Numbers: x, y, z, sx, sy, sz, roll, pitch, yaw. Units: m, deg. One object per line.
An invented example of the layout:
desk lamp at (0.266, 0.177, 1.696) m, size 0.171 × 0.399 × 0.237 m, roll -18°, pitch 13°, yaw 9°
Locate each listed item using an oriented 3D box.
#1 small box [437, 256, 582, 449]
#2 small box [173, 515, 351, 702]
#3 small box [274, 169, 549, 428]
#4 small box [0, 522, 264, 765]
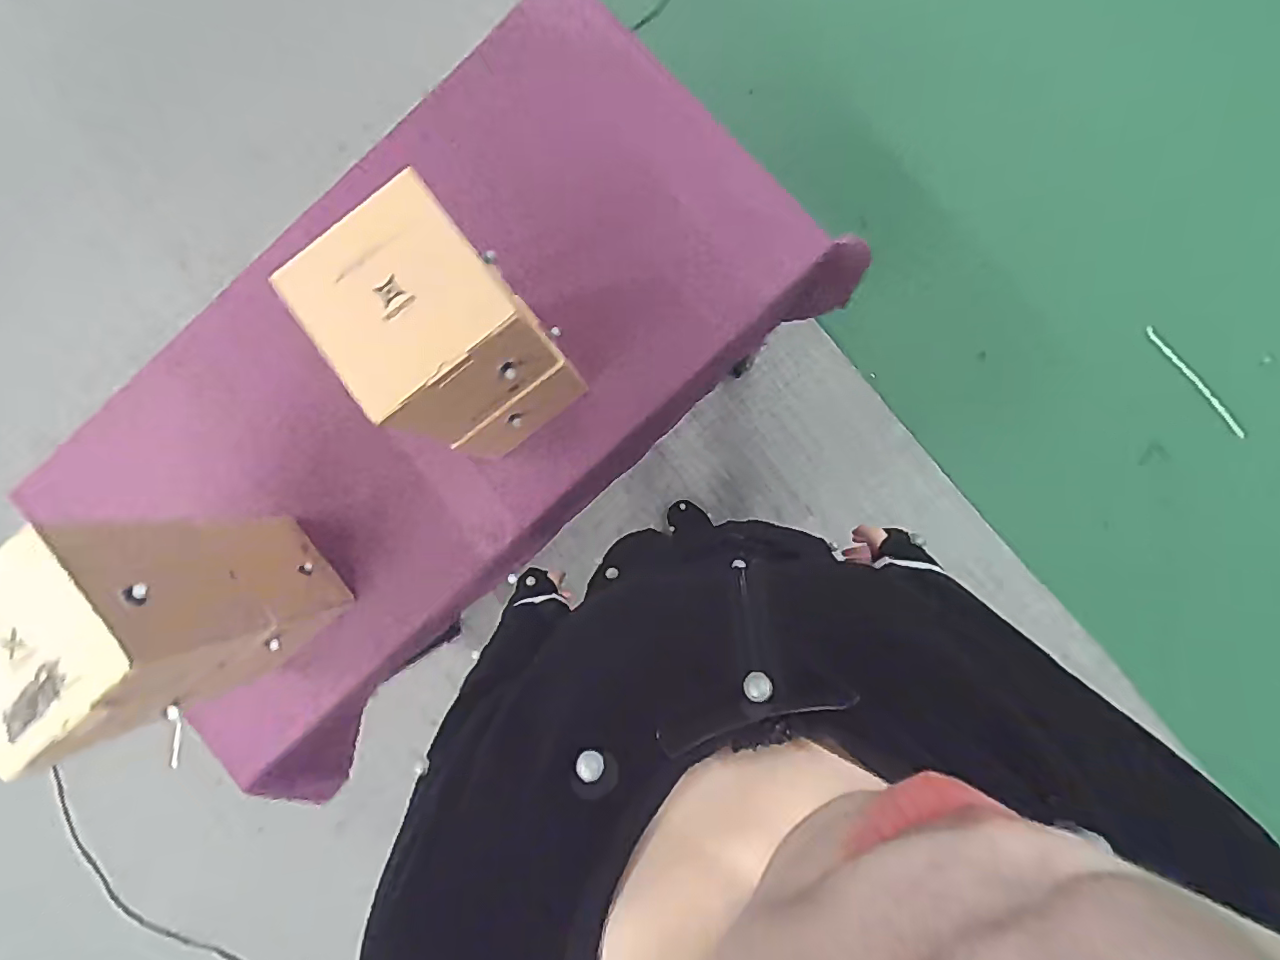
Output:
small box at (-0.201, -0.156, 0.734) m, size 0.179 × 0.176 × 0.168 m, roll -37°, pitch 86°, yaw 3°
small box at (-0.554, 0.165, 0.755) m, size 0.179 × 0.176 × 0.168 m, roll -41°, pitch 85°, yaw 2°
small box at (-0.221, -0.169, 0.573) m, size 0.168 × 0.176 × 0.179 m, roll -37°, pitch 85°, yaw 2°
small box at (-0.572, 0.157, 0.591) m, size 0.168 × 0.176 × 0.179 m, roll -42°, pitch 84°, yaw 1°
